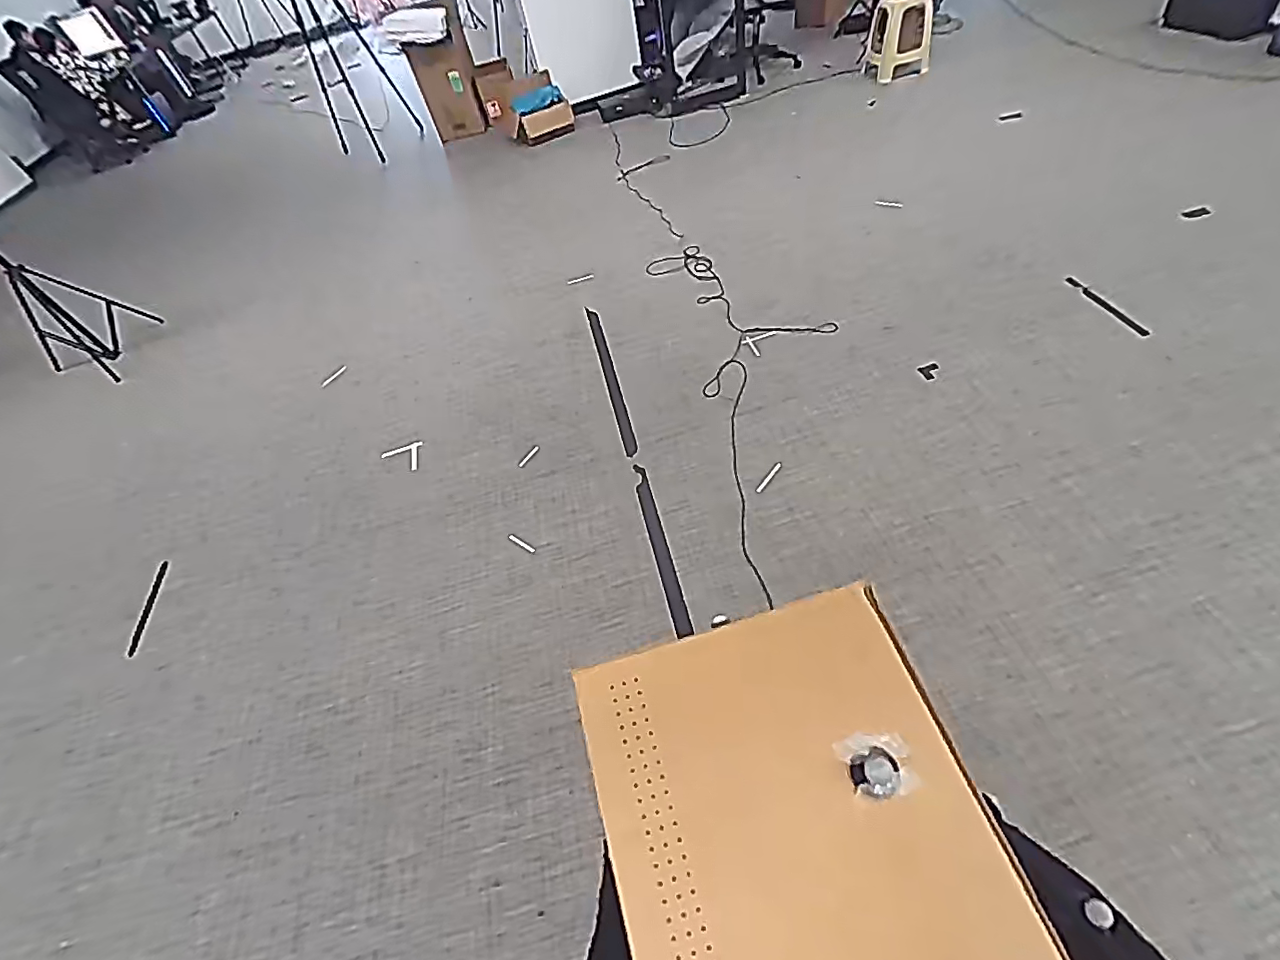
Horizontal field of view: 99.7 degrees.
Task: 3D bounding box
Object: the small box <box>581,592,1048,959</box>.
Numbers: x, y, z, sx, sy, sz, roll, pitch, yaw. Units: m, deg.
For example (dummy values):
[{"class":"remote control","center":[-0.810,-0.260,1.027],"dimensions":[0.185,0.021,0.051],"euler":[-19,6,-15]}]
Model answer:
[{"class":"small box","center":[0.071,0.195,0.321],"dimensions":[0.176,0.168,0.179],"euler":[-17,60,-3]}]
